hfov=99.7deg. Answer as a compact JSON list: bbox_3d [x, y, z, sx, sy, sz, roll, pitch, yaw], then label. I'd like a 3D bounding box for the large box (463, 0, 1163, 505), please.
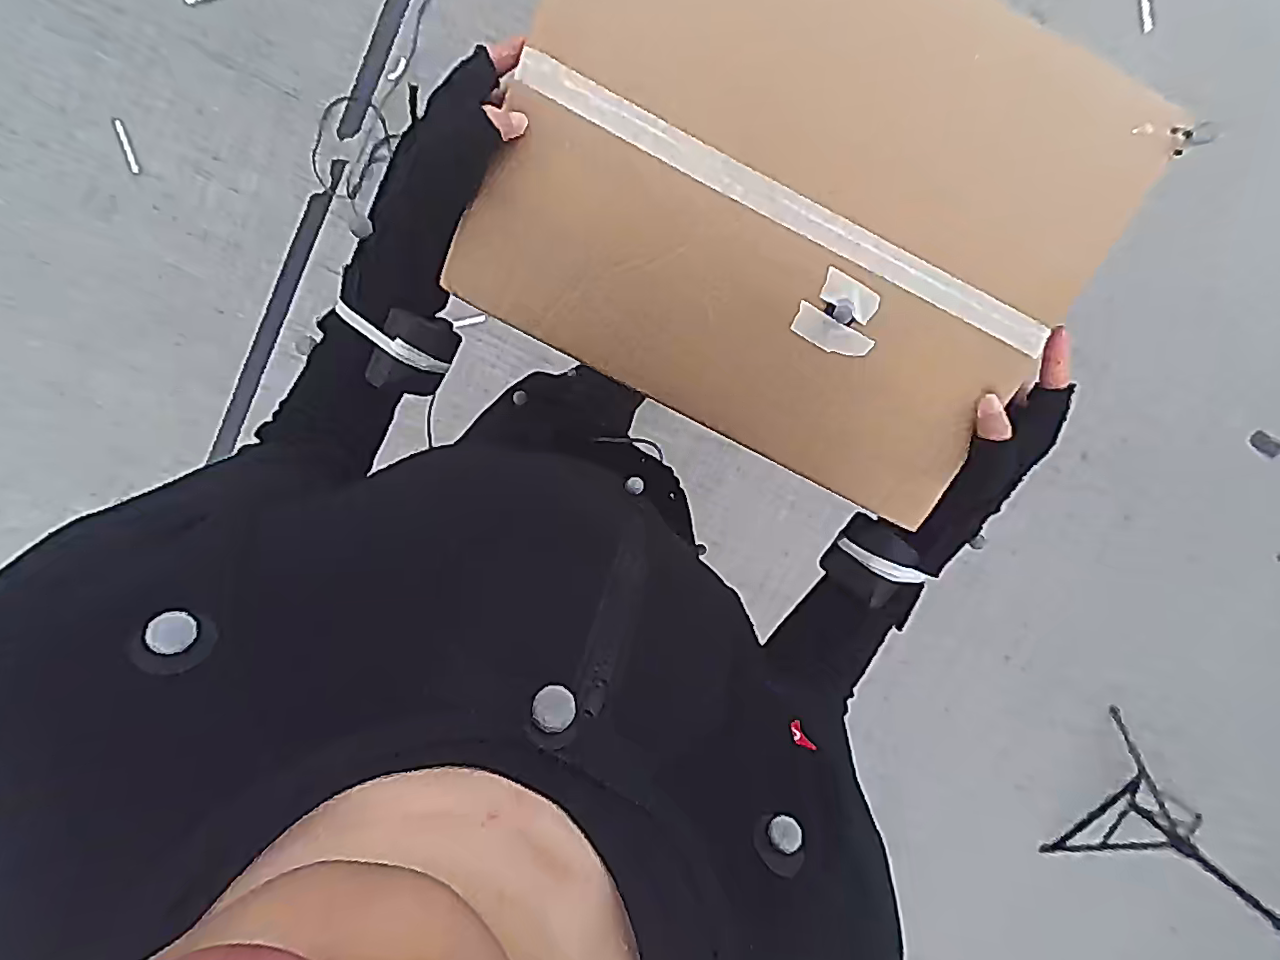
[{"bbox_3d":[0.113,-0.231,0.527,0.408,0.320,0.320,27,105,-4],"label":"large box"}]
